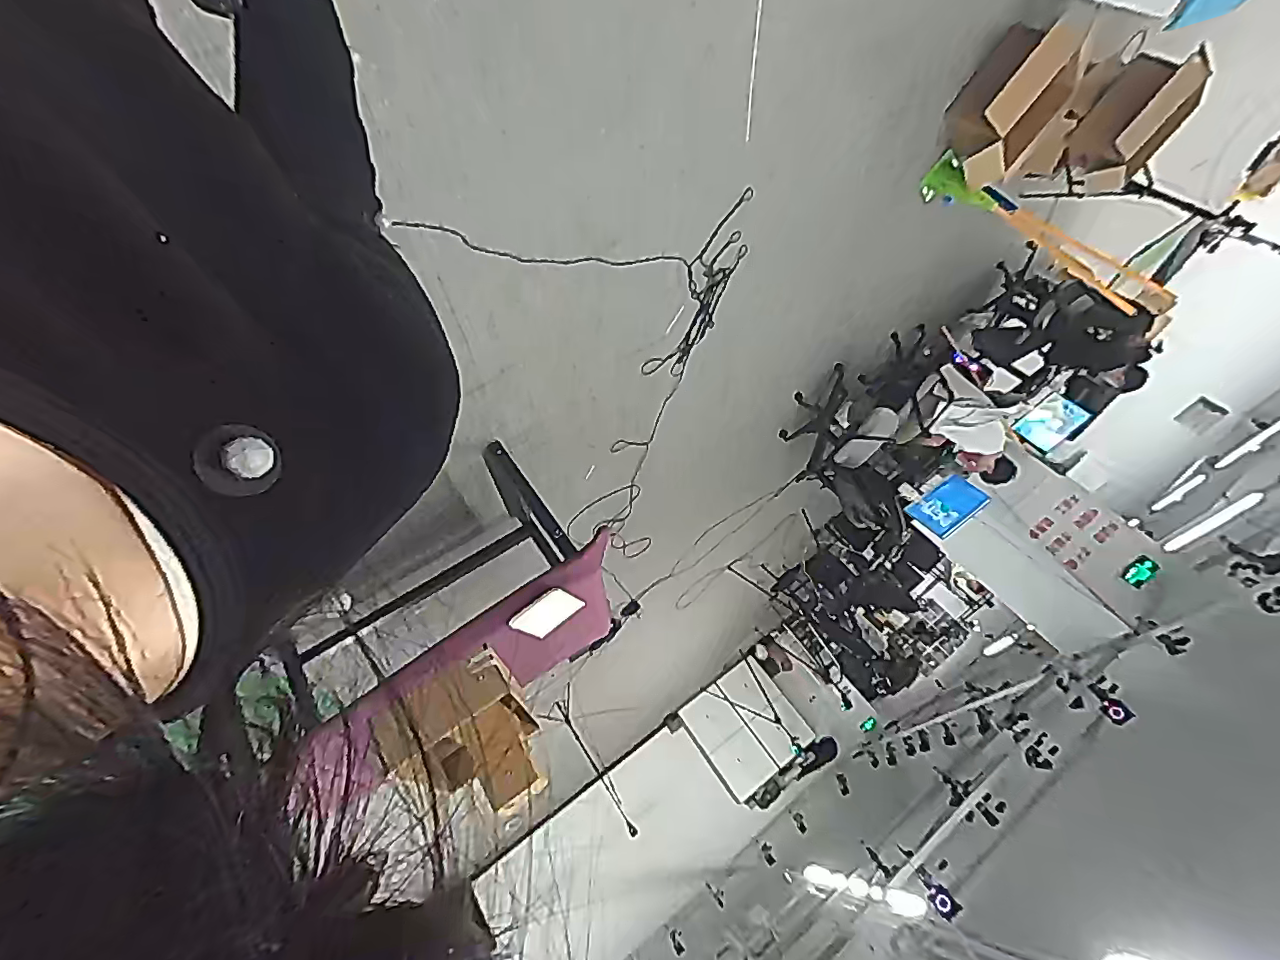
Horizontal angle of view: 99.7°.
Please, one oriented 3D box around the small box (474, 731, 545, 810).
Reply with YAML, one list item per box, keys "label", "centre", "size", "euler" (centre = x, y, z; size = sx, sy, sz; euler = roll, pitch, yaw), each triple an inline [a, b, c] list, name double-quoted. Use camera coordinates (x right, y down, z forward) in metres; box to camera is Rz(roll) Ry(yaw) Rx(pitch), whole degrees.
- label: "small box"
  centre: [-0.459, 1.011, 1.882]
  size: [0.179, 0.176, 0.168]
  euler: [-33, 151, -17]
